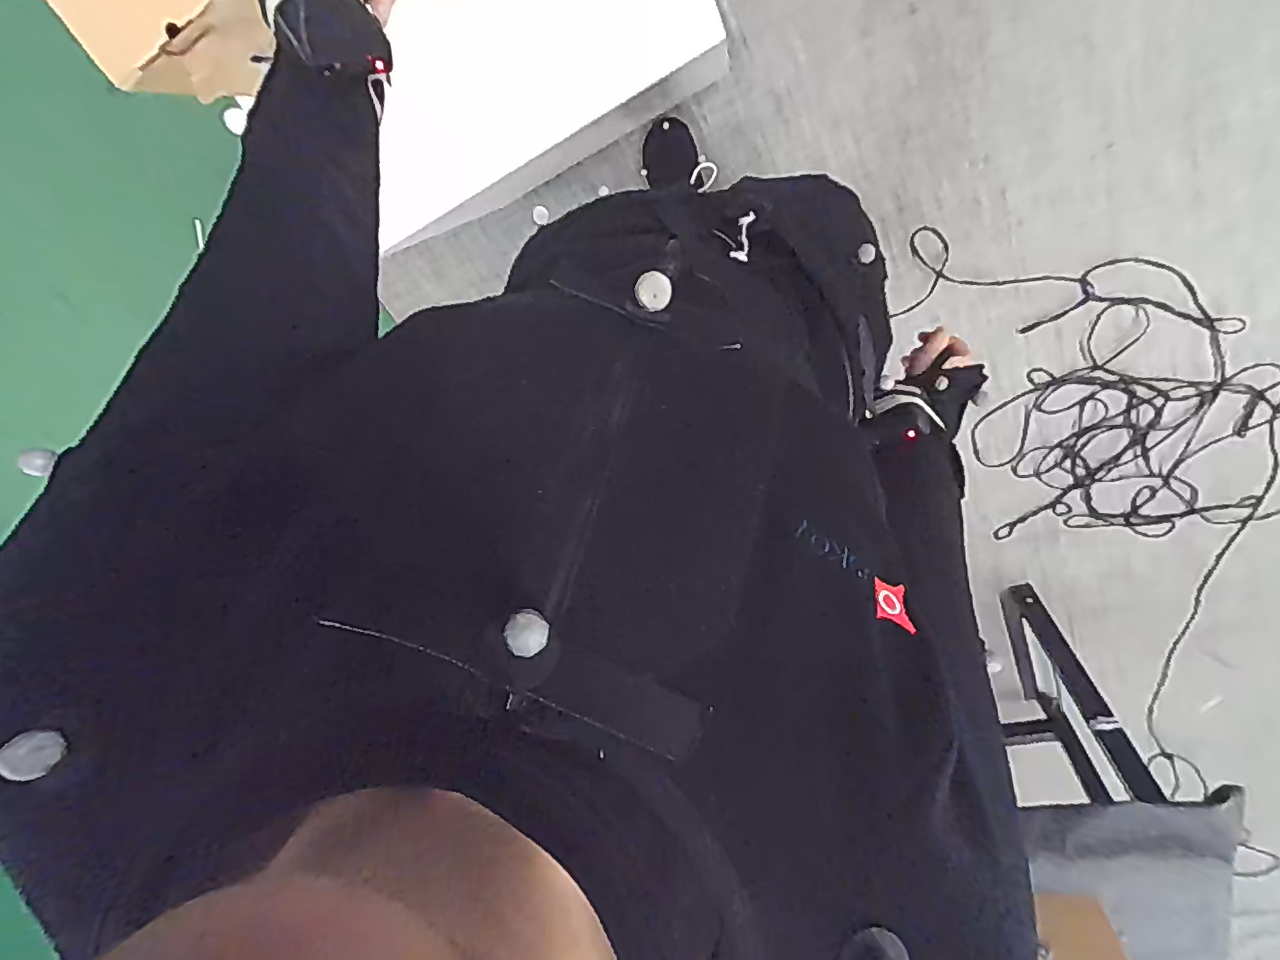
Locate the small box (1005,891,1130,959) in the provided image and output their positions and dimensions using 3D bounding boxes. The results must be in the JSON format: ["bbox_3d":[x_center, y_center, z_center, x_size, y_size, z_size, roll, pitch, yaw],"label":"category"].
[{"bbox_3d":[0.841,0.929,1.048,0.179,0.176,0.168,-24,118,23],"label":"small box"}]

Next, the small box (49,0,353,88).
[{"bbox_3d":[-0.398,-0.470,0.461,0.168,0.176,0.179,-19,120,19],"label":"small box"}]
